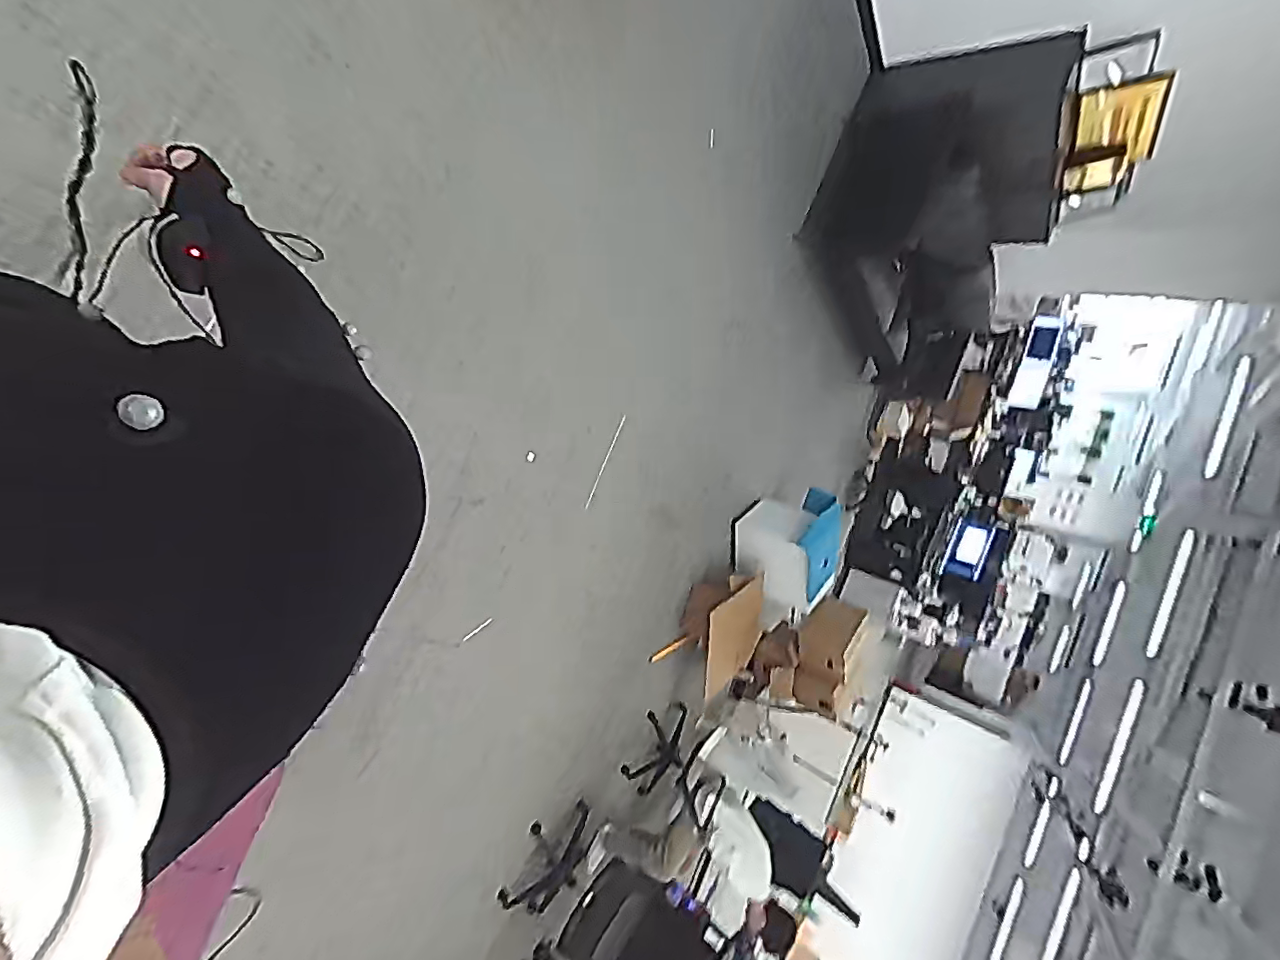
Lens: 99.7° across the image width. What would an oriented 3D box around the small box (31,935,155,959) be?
[{"bbox_3d":[-0.663,0.660,0.597,0.168,0.176,0.179,27,83,-52],"label":"small box"}]
